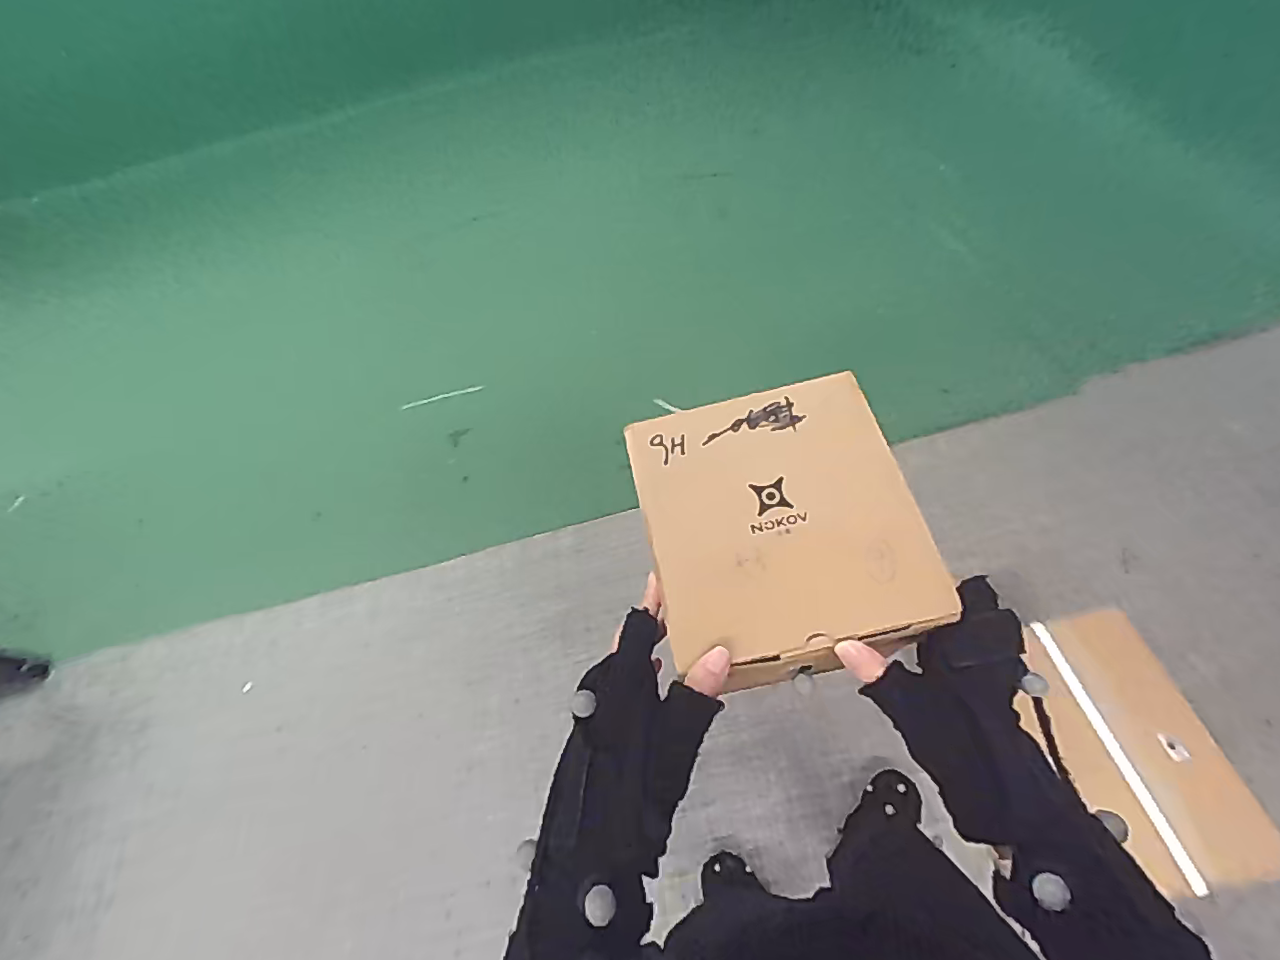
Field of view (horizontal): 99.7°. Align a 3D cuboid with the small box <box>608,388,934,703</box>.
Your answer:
[{"bbox_3d":[0.084,0.063,0.415,0.168,0.176,0.179,-15,65,2],"label":"small box"}]
